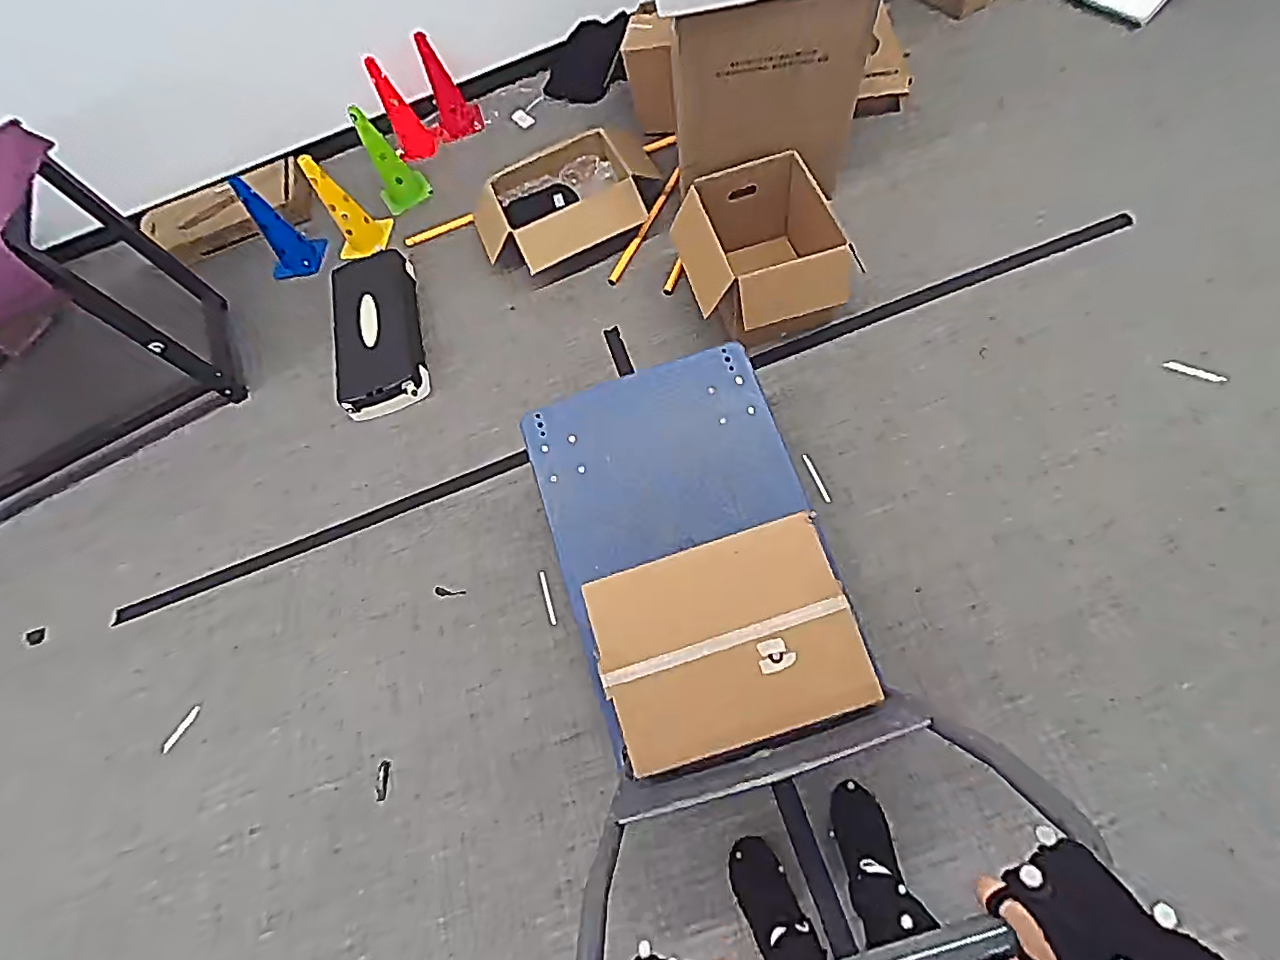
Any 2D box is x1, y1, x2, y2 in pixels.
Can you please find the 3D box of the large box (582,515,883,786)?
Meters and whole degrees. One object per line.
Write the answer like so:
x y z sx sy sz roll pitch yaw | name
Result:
0.147 0.295 0.994 0.408 0.320 0.320 -19 77 0 | large box
